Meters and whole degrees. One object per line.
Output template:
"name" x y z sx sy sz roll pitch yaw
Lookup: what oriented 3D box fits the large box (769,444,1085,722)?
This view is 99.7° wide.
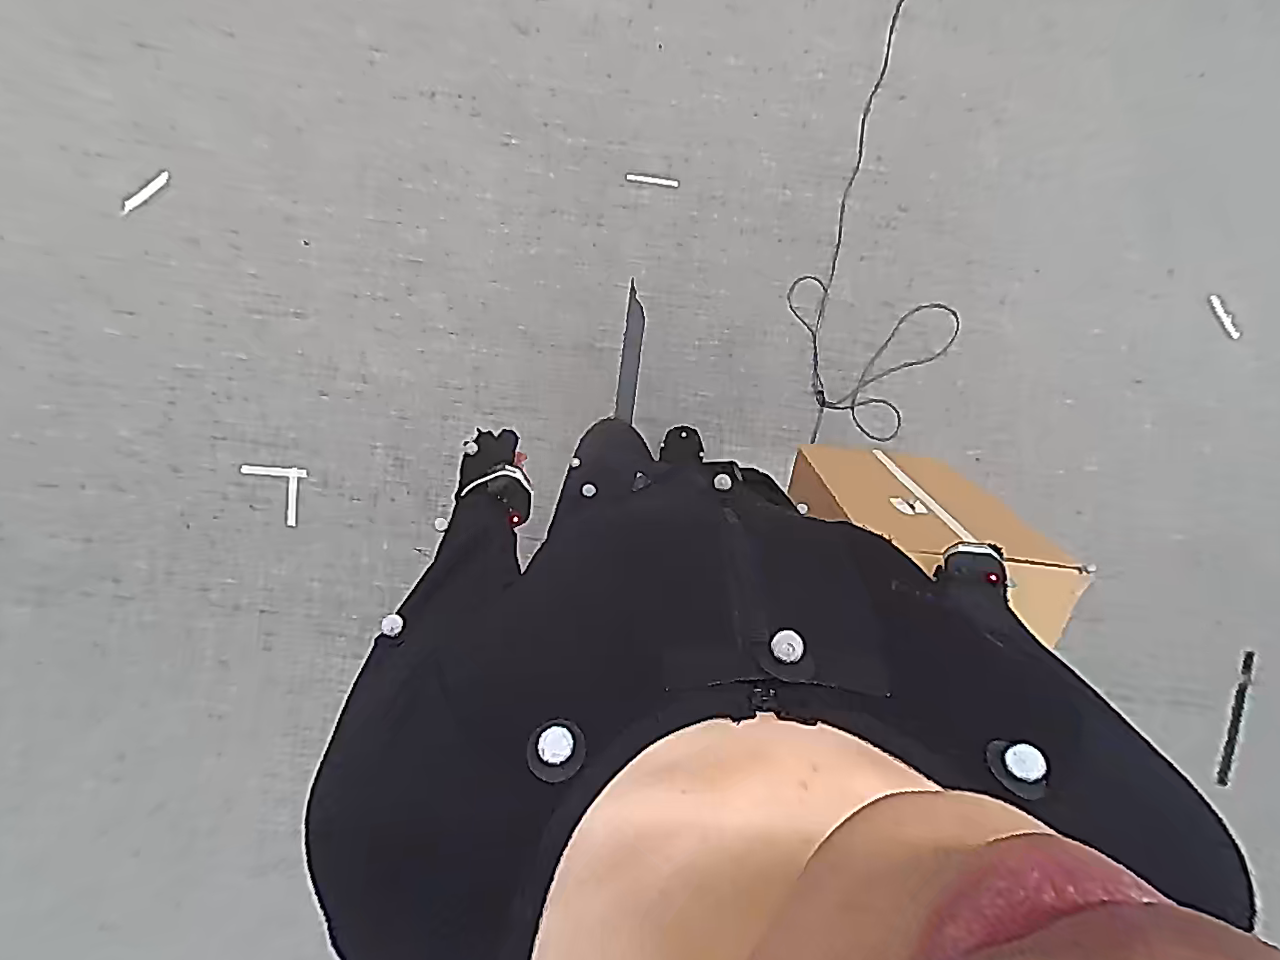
"large box" 0.458 0.162 0.991 0.320 0.408 0.320 5 116 -2
